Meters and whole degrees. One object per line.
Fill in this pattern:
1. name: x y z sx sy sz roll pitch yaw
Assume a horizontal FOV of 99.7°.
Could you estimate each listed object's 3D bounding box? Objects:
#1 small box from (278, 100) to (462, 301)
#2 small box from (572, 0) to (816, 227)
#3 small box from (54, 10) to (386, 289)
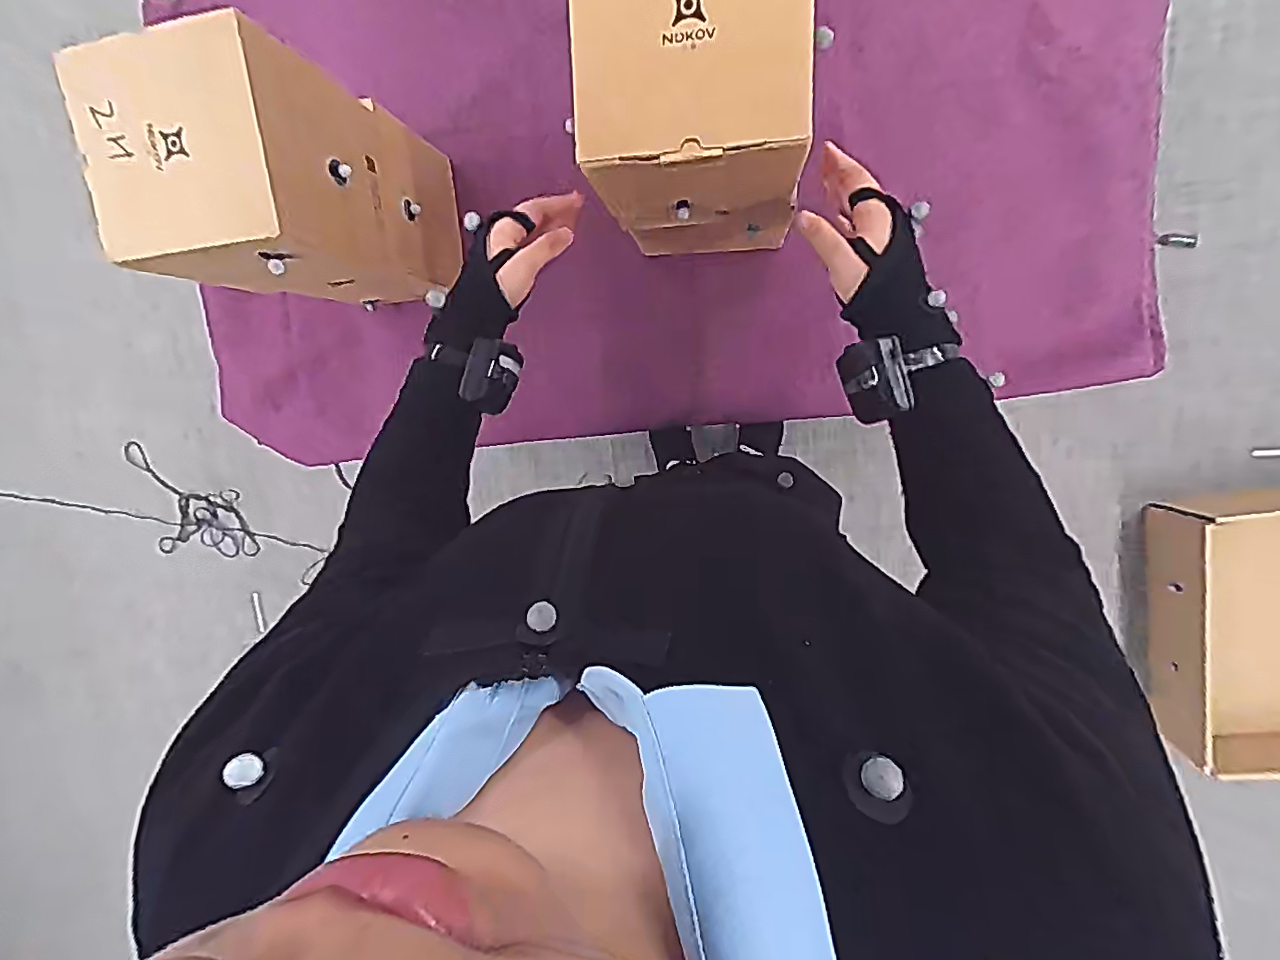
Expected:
1. small box: -0.340 -0.325 0.671 0.168 0.176 0.179 -3 100 9
2. small box: 0.045 -0.327 0.440 0.168 0.176 0.179 -1 100 9
3. small box: -0.367 -0.286 0.513 0.179 0.176 0.168 -4 100 10
